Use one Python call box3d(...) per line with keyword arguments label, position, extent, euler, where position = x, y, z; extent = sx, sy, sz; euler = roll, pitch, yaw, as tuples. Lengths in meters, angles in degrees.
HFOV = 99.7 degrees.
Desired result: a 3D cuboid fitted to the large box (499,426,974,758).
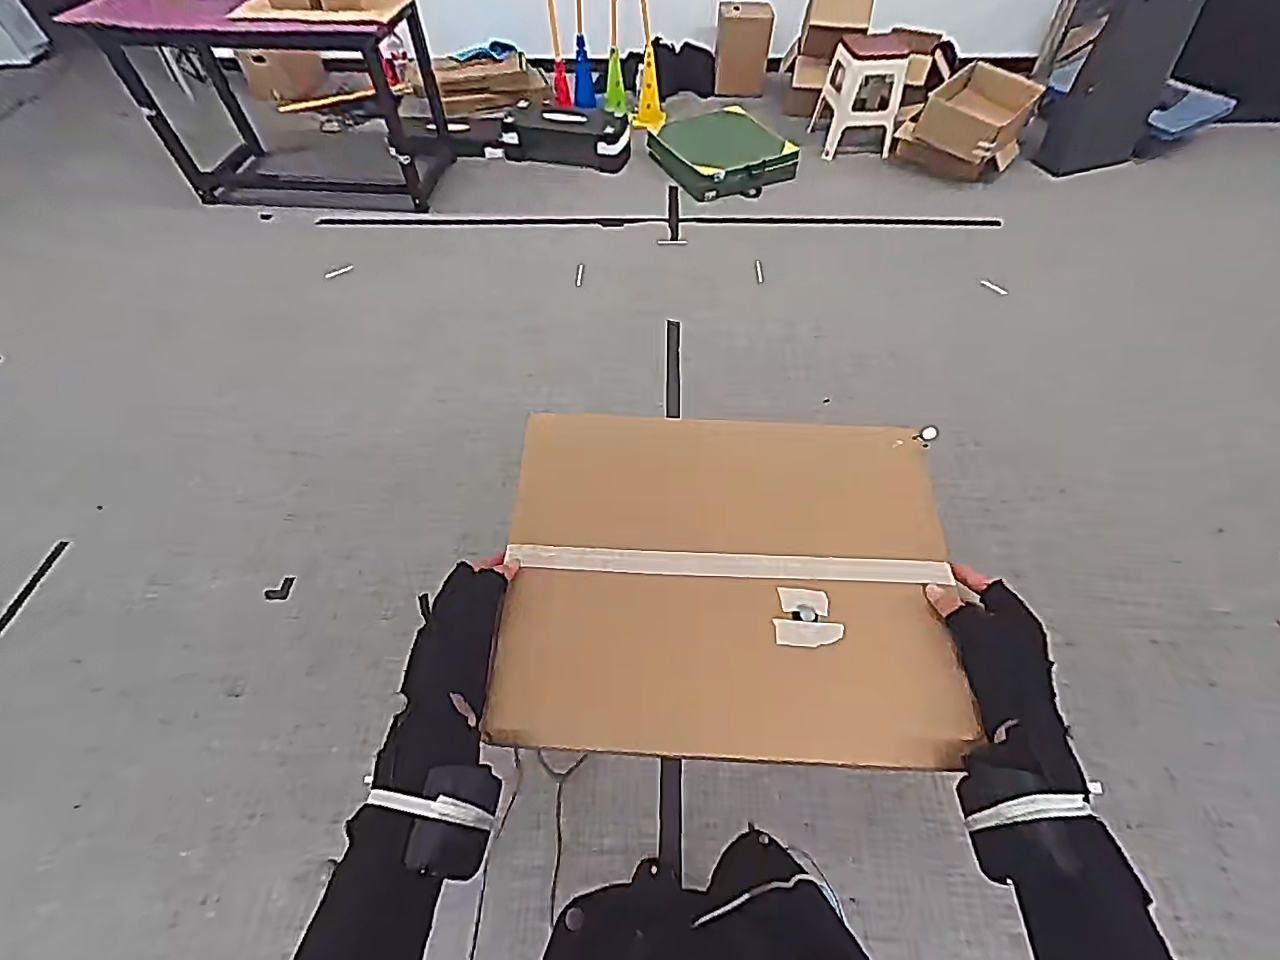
box3d(label="large box", position=(0.082, 0.151, 0.645), extent=(0.408, 0.320, 0.320), euler=(2, 64, 1))
